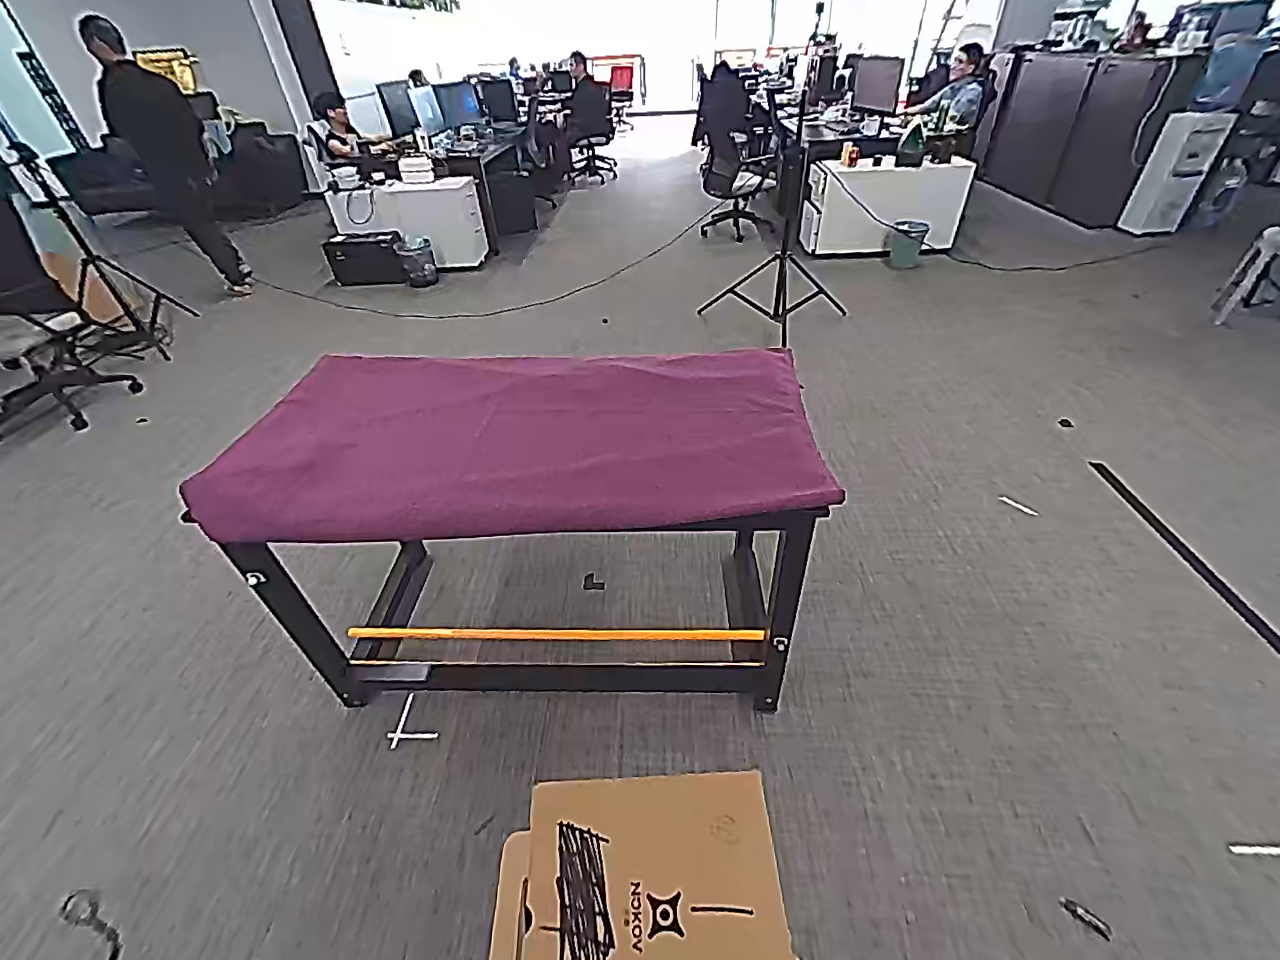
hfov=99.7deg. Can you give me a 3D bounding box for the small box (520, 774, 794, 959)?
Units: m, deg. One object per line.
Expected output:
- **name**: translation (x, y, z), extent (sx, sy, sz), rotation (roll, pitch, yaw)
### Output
- **small box**: translation (0.014, 0.343, 0.413), extent (0.179, 0.176, 0.168), rotation (-3, 45, 0)
